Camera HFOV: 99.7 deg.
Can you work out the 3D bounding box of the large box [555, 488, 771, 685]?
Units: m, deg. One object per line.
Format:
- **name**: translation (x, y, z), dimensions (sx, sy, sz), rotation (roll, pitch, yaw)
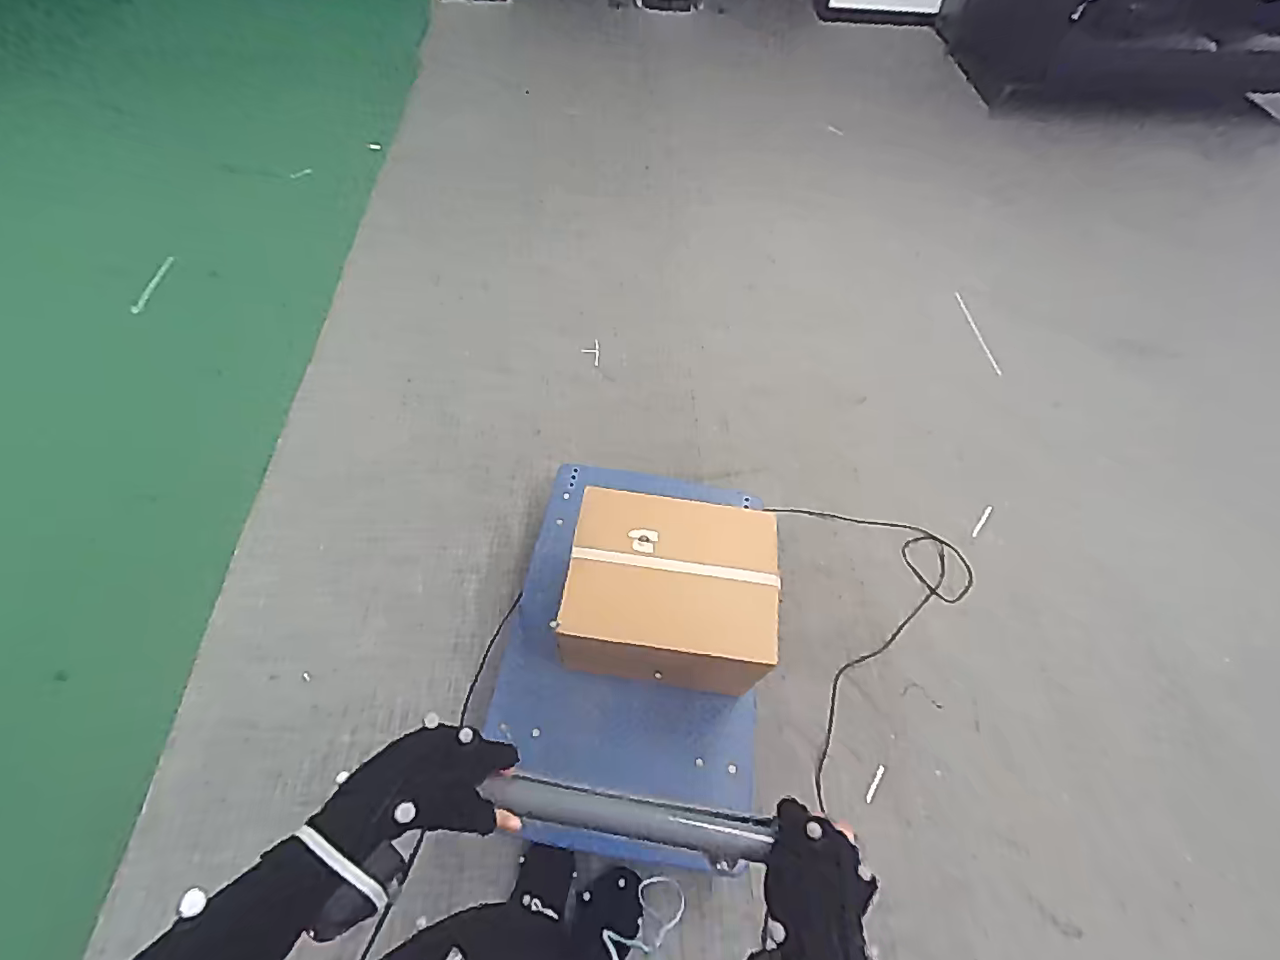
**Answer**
- **large box**: translation (0.054, 0.245, 1.186), dimensions (0.408, 0.320, 0.320), rotation (8, 58, 2)
